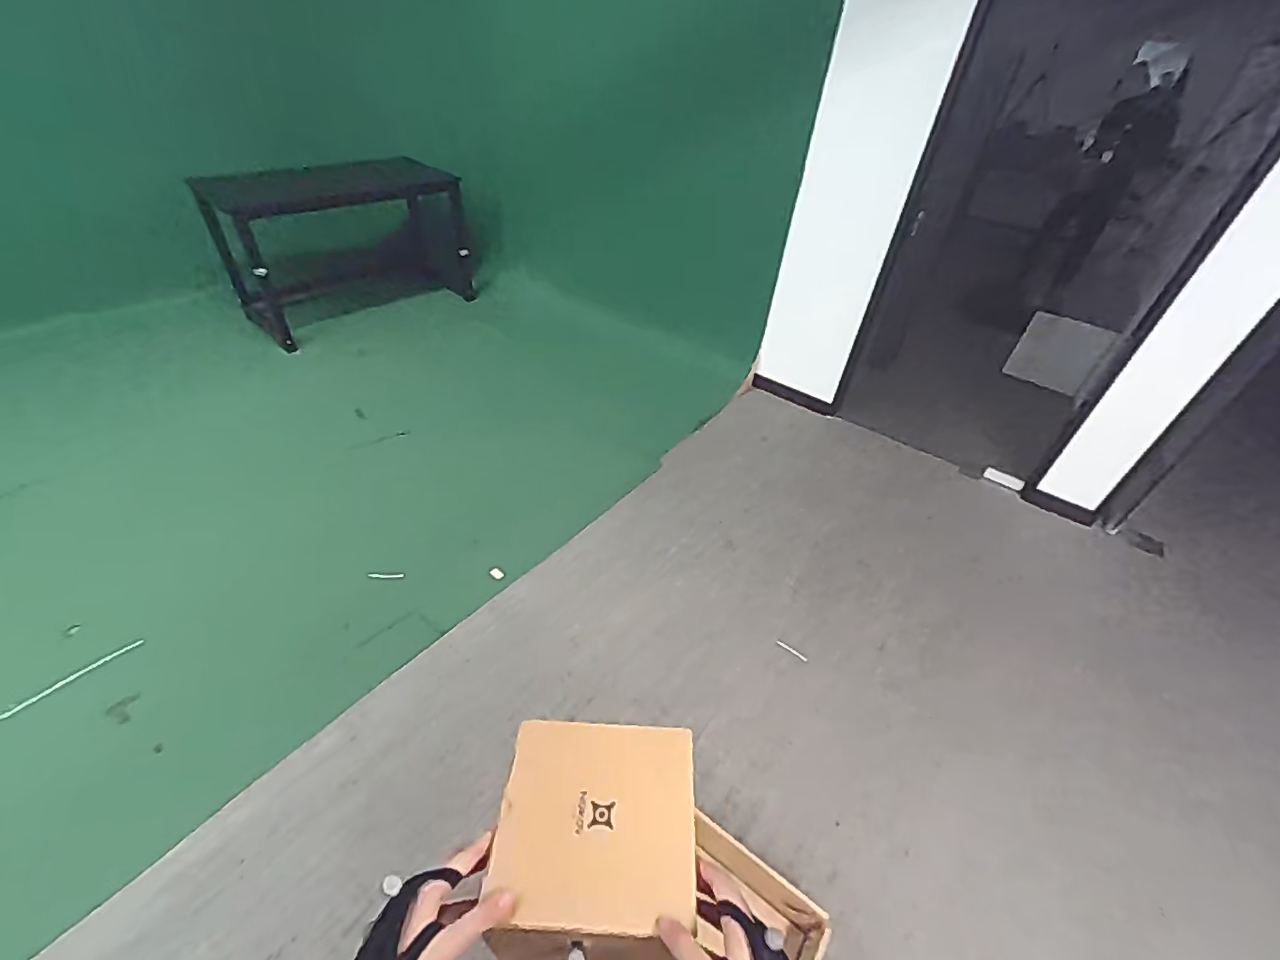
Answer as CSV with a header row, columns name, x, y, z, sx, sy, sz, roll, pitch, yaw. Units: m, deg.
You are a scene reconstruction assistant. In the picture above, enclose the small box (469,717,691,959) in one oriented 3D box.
name,x,y,z,sx,sy,sz,roll,pitch,yaw
small box,-0.045,0.357,0.531,0.179,0.176,0.168,1,37,2
